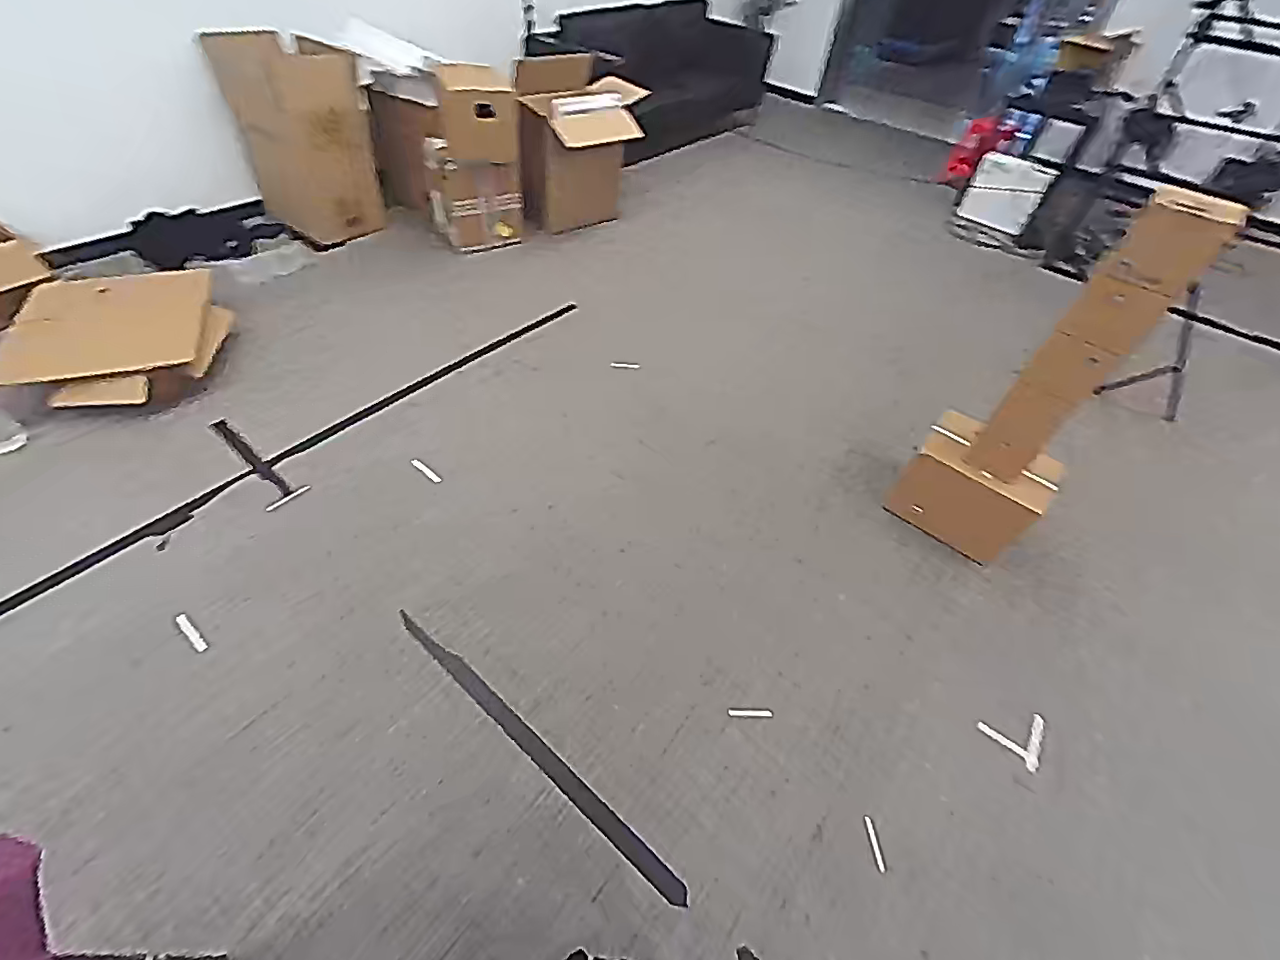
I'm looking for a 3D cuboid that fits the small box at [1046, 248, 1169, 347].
[{"bbox_3d":[1.213,-0.467,1.400,0.179,0.176,0.168,36,55,24],"label":"small box"}]

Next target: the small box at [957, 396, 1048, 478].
[{"bbox_3d":[1.174,-0.137,1.761,0.179,0.176,0.168,33,54,21],"label":"small box"}]

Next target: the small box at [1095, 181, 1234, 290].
[{"bbox_3d":[1.228,-0.575,1.277,0.168,0.176,0.179,36,54,24],"label":"small box"}]

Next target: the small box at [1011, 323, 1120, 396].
[{"bbox_3d":[1.199,-0.358,1.519,0.179,0.176,0.168,36,54,24],"label":"small box"}]
